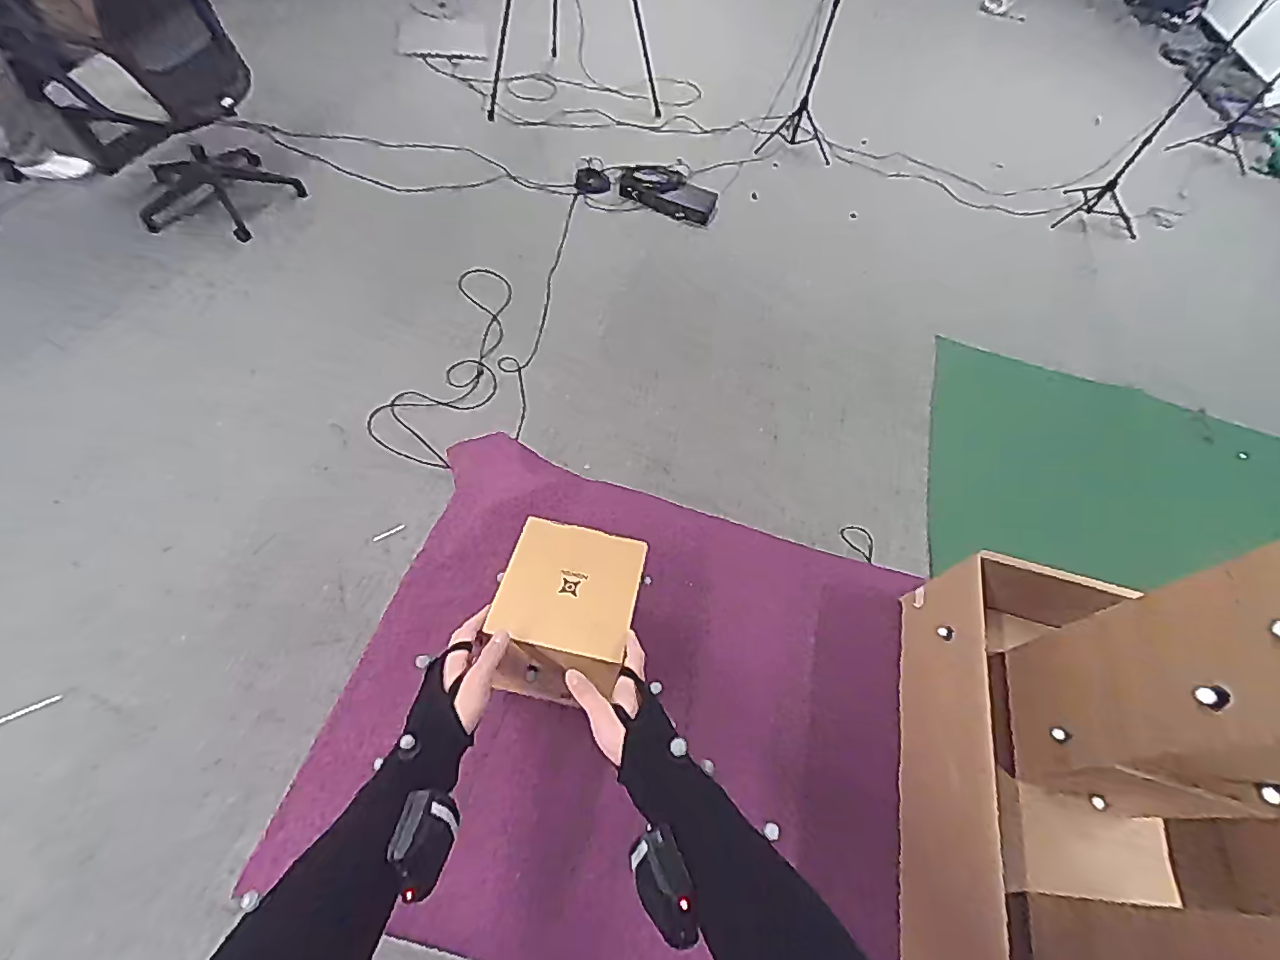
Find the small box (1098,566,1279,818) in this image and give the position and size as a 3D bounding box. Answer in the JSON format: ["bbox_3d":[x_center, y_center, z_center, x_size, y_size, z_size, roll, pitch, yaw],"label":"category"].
[{"bbox_3d":[0.614,0.219,0.543,0.168,0.176,0.179,18,57,5],"label":"small box"}]

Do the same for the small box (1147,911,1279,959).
[{"bbox_3d":[0.528,0.445,0.385,0.168,0.176,0.179,17,55,5],"label":"small box"}]

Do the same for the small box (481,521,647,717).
[{"bbox_3d":[-0.095,0.187,0.716,0.168,0.176,0.179,13,44,1],"label":"small box"}]
